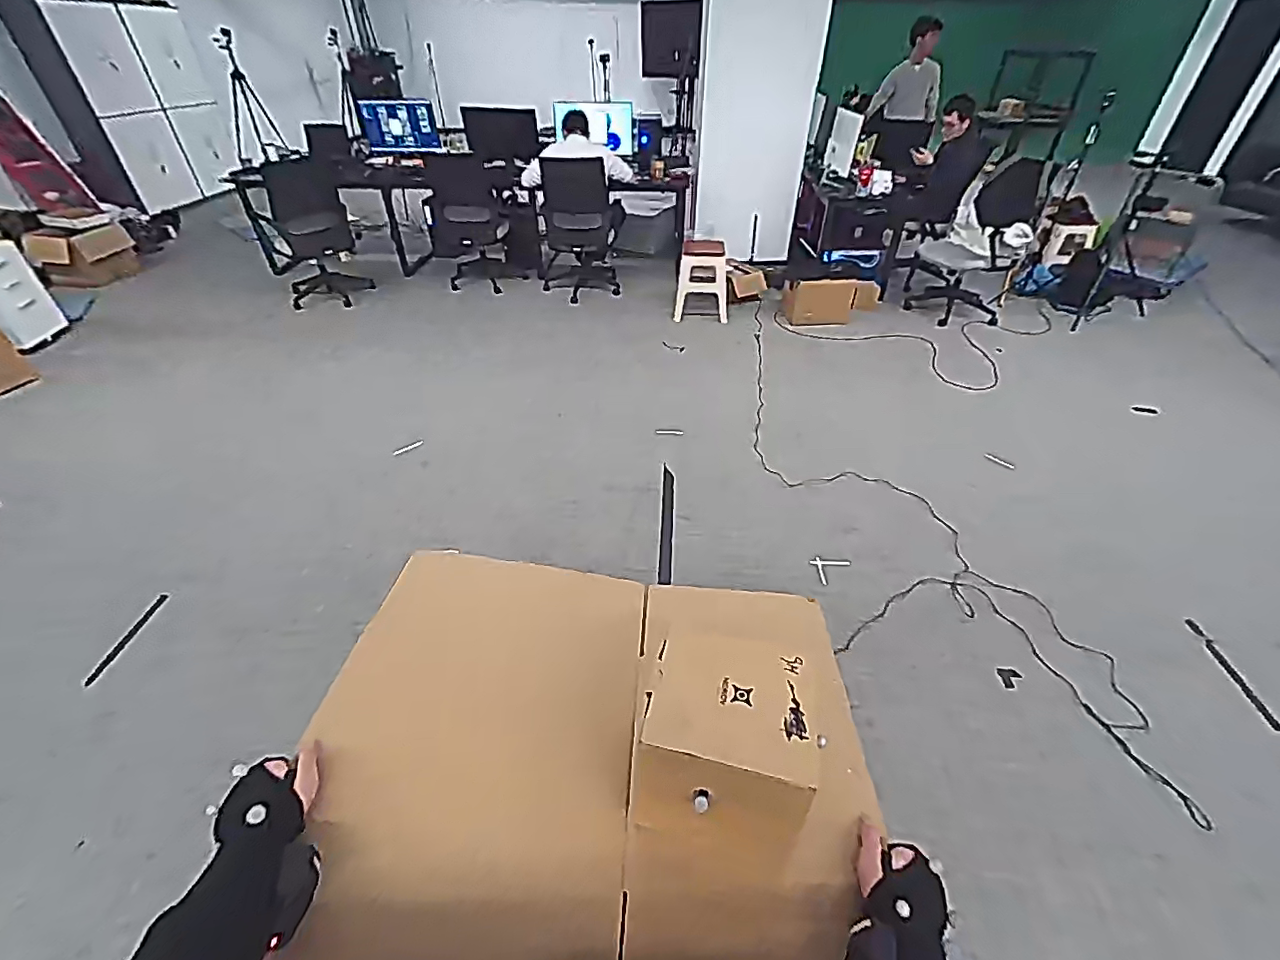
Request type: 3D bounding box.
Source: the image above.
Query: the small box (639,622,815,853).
[{"bbox_3d":[0.101,0.299,0.636,0.179,0.176,0.168,9,35,11],"label":"small box"}]
